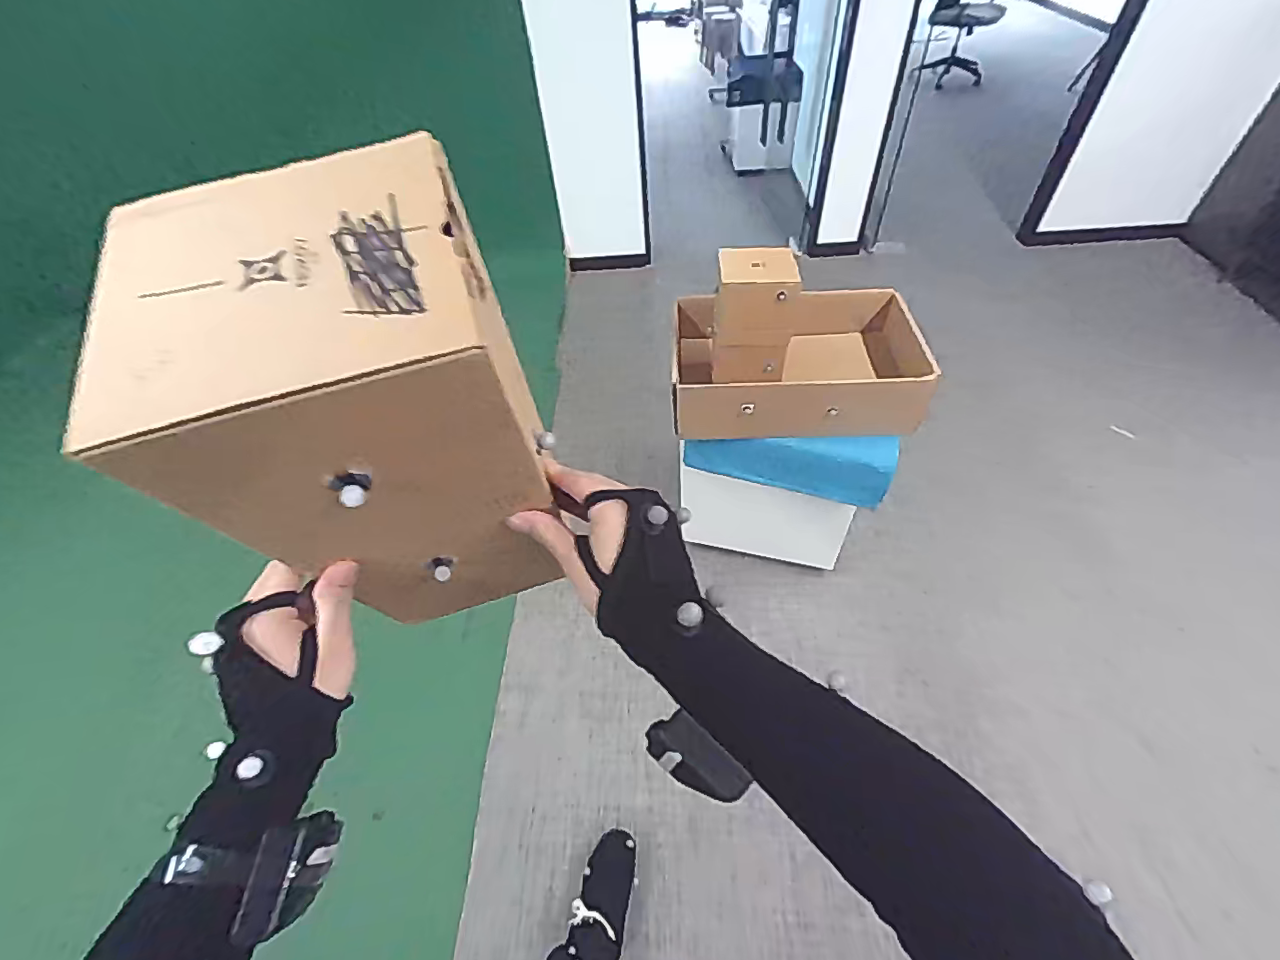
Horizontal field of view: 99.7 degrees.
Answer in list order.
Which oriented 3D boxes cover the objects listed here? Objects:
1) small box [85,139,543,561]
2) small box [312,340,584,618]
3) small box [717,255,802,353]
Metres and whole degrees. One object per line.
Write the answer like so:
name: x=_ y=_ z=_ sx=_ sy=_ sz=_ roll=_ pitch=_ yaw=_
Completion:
small box: x=-0.167 y=-0.069 z=0.340 sx=0.179 sy=0.176 sz=0.168 roll=-16 pitch=62 yaw=-5
small box: x=-0.160 y=0.008 z=0.485 sx=0.179 sy=0.176 sz=0.168 roll=-15 pitch=62 yaw=-6
small box: x=0.276 y=-0.419 z=1.293 sx=0.179 sy=0.176 sz=0.168 roll=1 pitch=47 yaw=3
